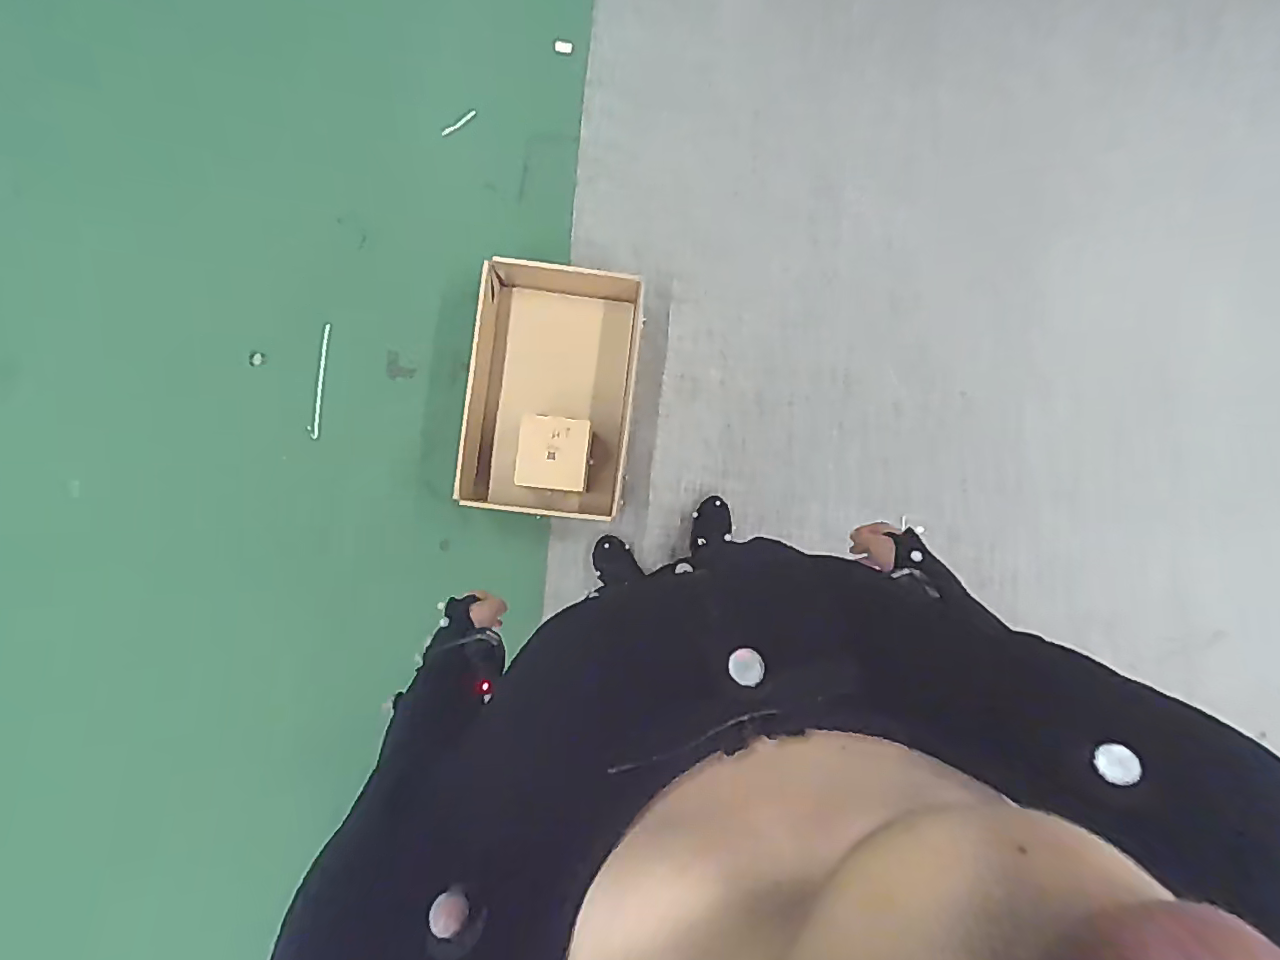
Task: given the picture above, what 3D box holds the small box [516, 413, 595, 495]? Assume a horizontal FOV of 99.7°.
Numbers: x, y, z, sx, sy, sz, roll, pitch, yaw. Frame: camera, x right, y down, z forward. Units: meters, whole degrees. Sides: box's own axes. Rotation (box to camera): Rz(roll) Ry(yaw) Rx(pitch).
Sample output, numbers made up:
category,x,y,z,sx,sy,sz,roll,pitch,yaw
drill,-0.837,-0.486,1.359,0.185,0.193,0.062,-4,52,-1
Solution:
category,x,y,z,sx,sy,sz,roll,pitch,yaw
small box,-0.204,-0.057,1.346,0.168,0.176,0.179,6,86,-4
